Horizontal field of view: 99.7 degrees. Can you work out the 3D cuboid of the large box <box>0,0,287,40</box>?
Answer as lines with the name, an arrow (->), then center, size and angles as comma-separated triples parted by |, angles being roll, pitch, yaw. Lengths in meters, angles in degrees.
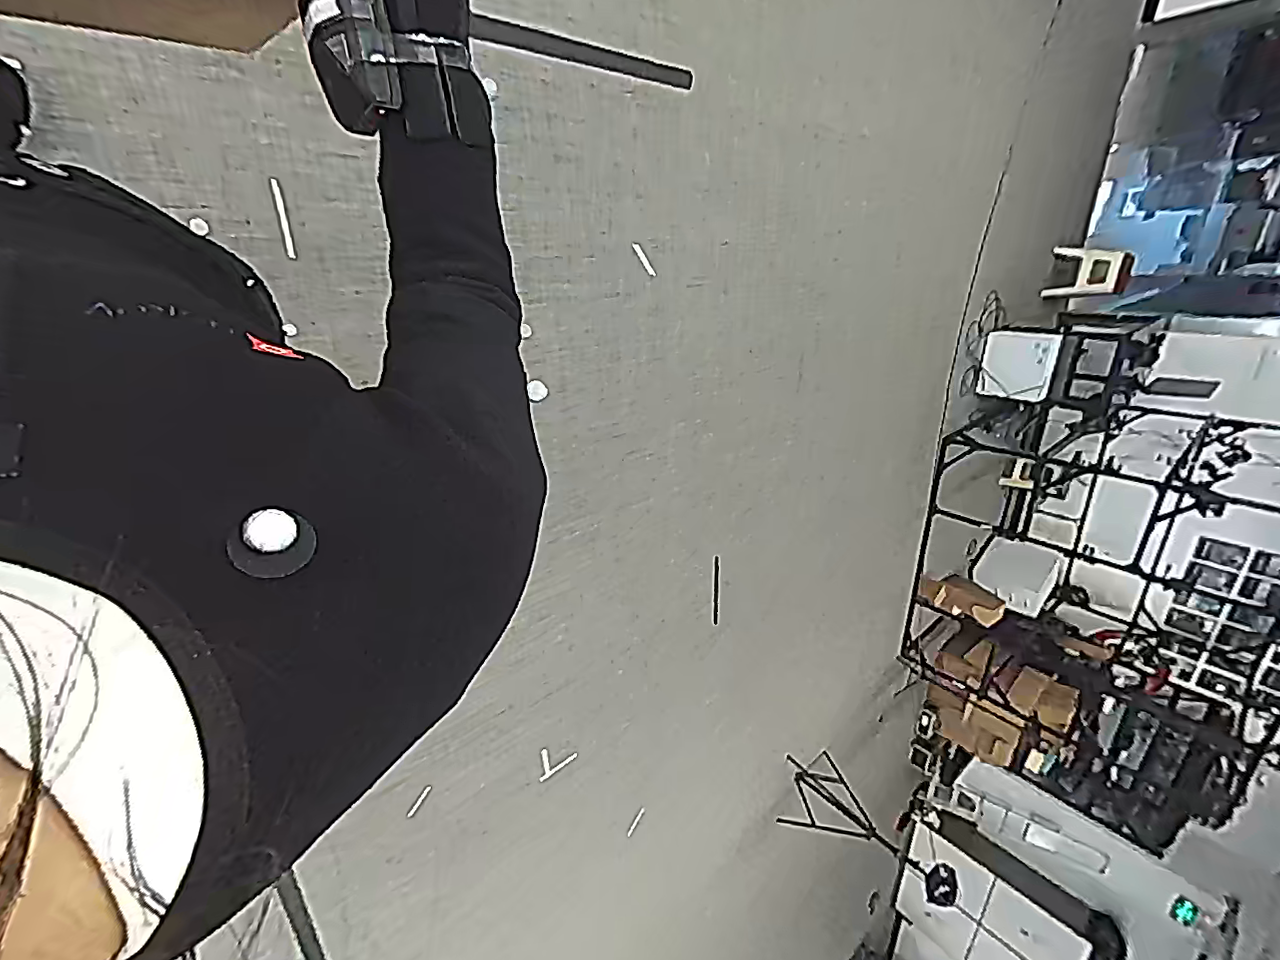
large box -> -0.413, -0.422, 0.216 | 0.408, 0.320, 0.320 | -21, 128, -37
